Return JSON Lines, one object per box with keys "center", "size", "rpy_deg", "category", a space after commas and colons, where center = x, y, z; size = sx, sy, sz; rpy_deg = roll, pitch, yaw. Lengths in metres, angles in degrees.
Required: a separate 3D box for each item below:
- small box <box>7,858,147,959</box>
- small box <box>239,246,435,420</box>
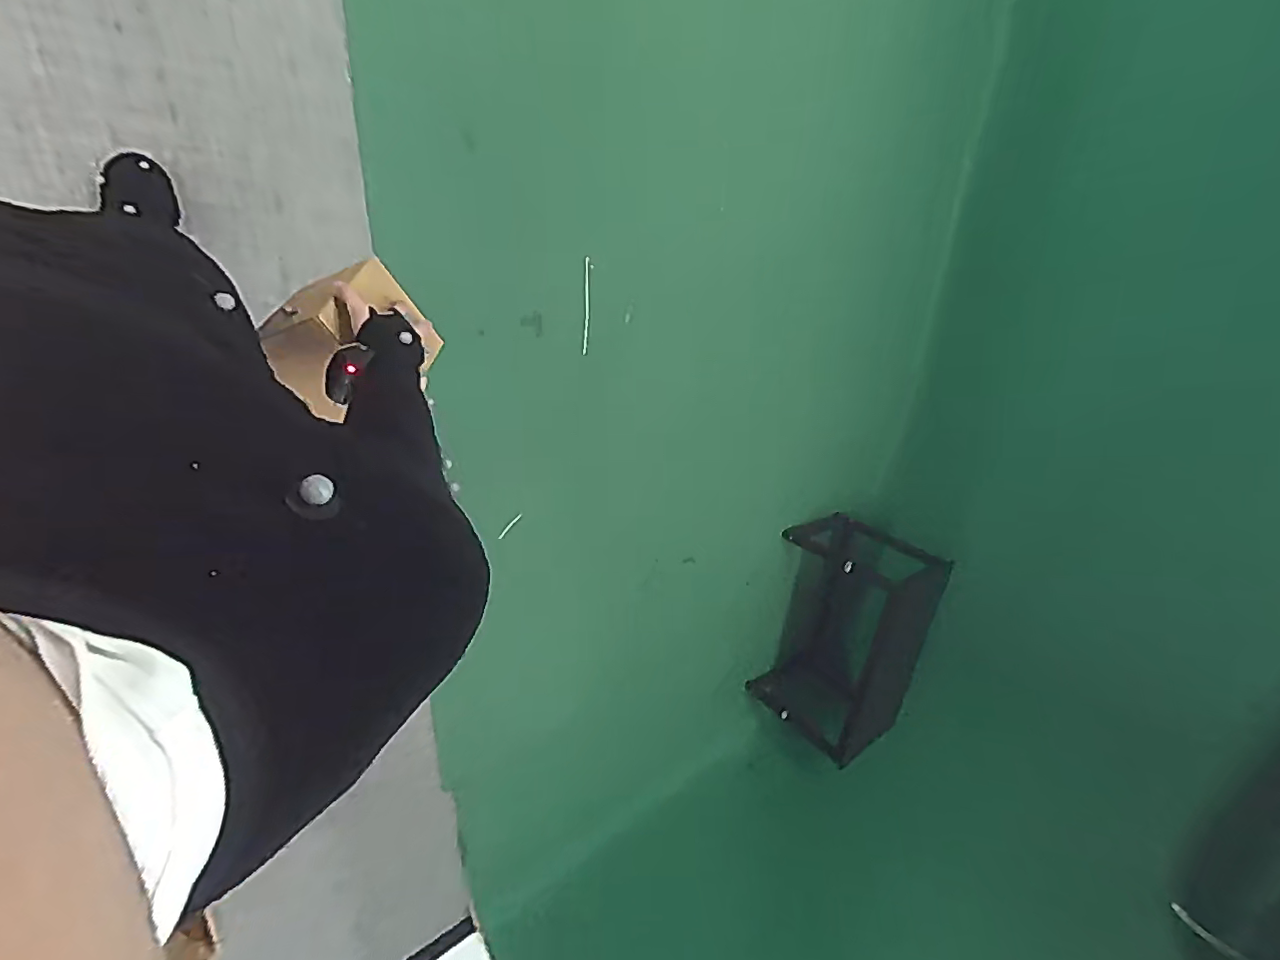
{"center": [-1.130, 0.928, 1.098], "size": [0.168, 0.176, 0.179], "rpy_deg": [-13, 118, -38], "category": "small box"}
{"center": [-0.455, -0.215, 0.821], "size": [0.168, 0.176, 0.179], "rpy_deg": [58, 28, -42], "category": "small box"}
